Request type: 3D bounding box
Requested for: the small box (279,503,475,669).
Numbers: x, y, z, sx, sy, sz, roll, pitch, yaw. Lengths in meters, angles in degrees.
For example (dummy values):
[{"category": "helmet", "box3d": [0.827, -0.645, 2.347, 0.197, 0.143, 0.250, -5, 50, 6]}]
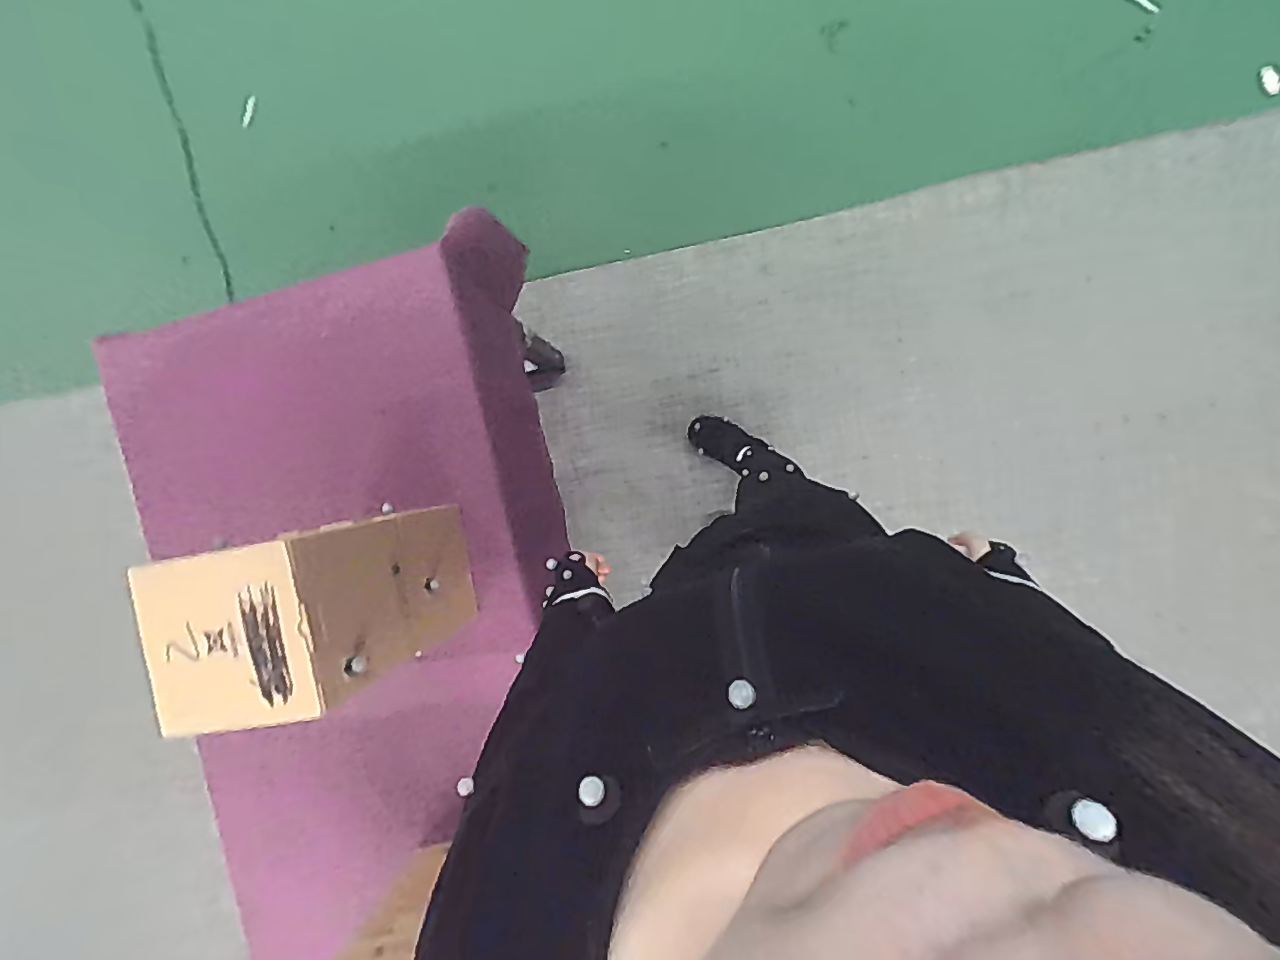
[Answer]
[{"category": "small box", "box3d": [-0.344, 0.135, 0.740, 0.168, 0.176, 0.179, -10, 91, 7]}]
